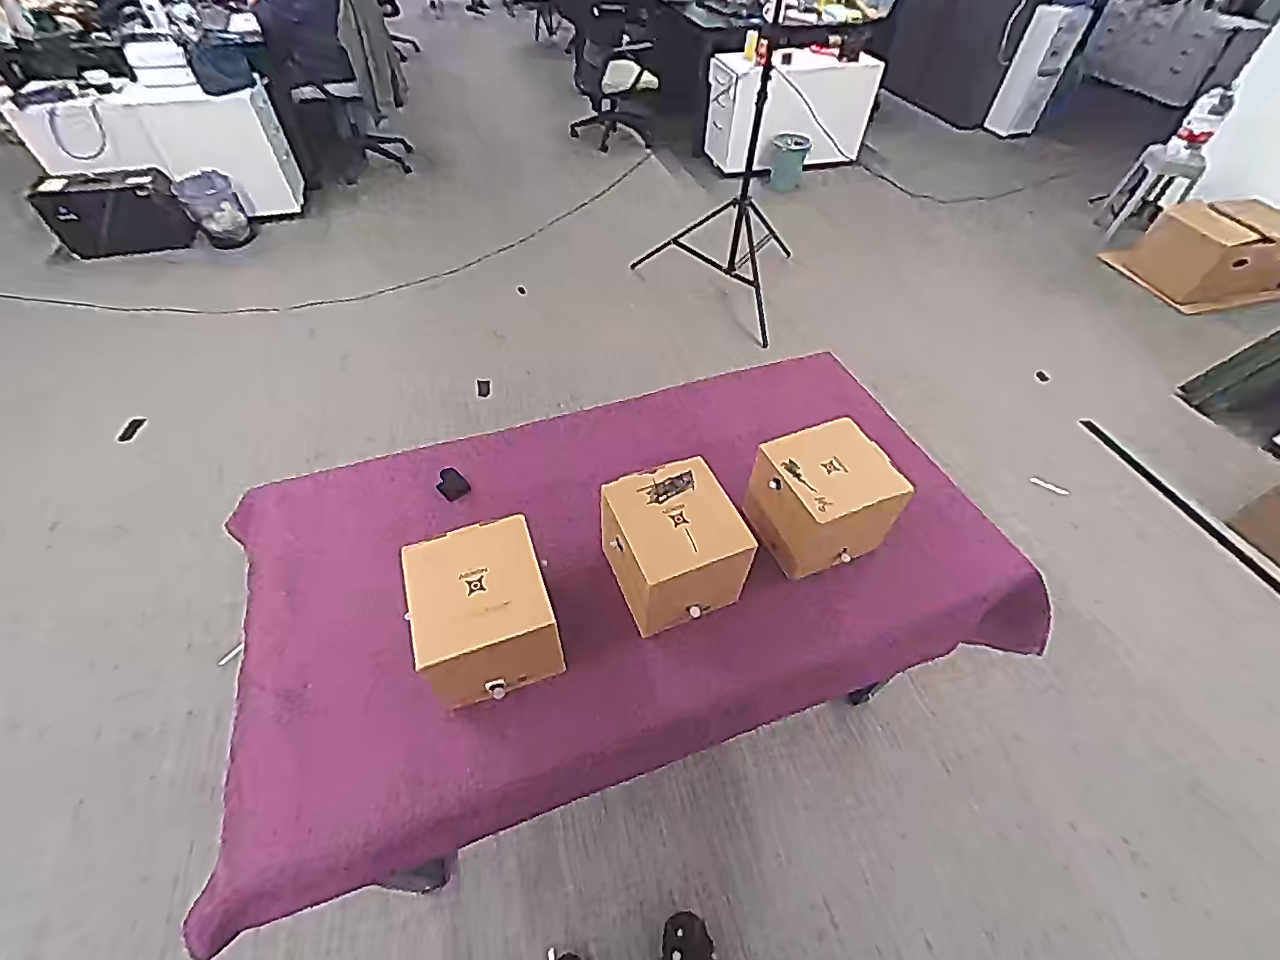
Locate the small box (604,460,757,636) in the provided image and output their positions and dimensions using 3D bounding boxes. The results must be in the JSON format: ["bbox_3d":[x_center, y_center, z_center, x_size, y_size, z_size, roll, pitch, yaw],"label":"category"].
[{"bbox_3d":[0.049,0.103,0.816,0.168,0.176,0.179,-17,53,-16],"label":"small box"}]

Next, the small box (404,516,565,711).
[{"bbox_3d":[-0.207,0.183,0.739,0.168,0.176,0.179,-16,53,-14],"label":"small box"}]

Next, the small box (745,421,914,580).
[{"bbox_3d":[0.294,0.035,0.884,0.179,0.176,0.168,-17,52,-16],"label":"small box"}]
